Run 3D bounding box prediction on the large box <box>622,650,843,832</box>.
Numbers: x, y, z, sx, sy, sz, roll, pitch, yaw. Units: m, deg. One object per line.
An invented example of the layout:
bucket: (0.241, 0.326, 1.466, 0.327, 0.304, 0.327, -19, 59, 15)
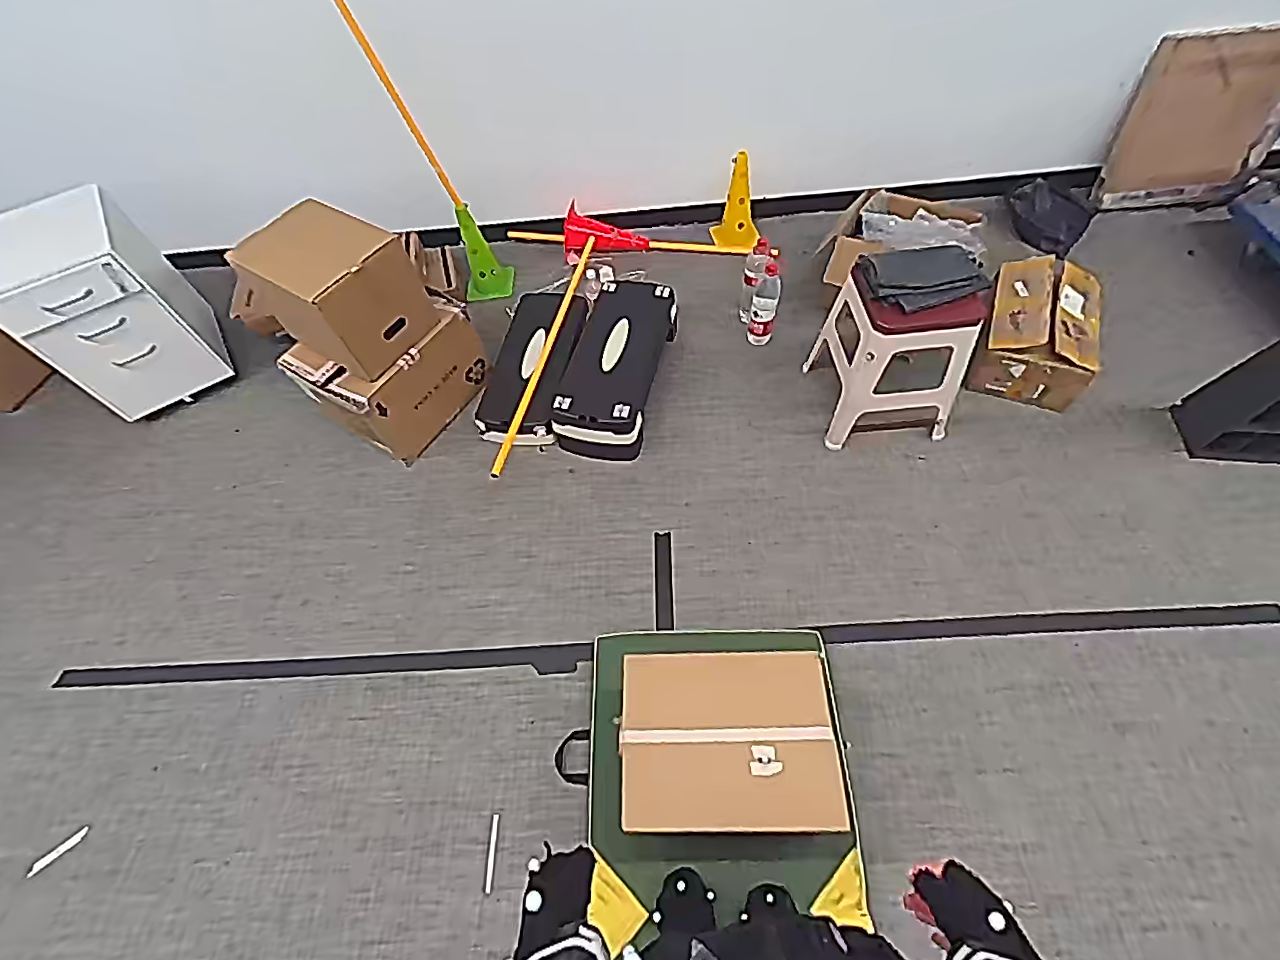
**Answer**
large box: (0.172, 0.575, 1.177, 0.408, 0.320, 0.320, -2, 58, 3)
